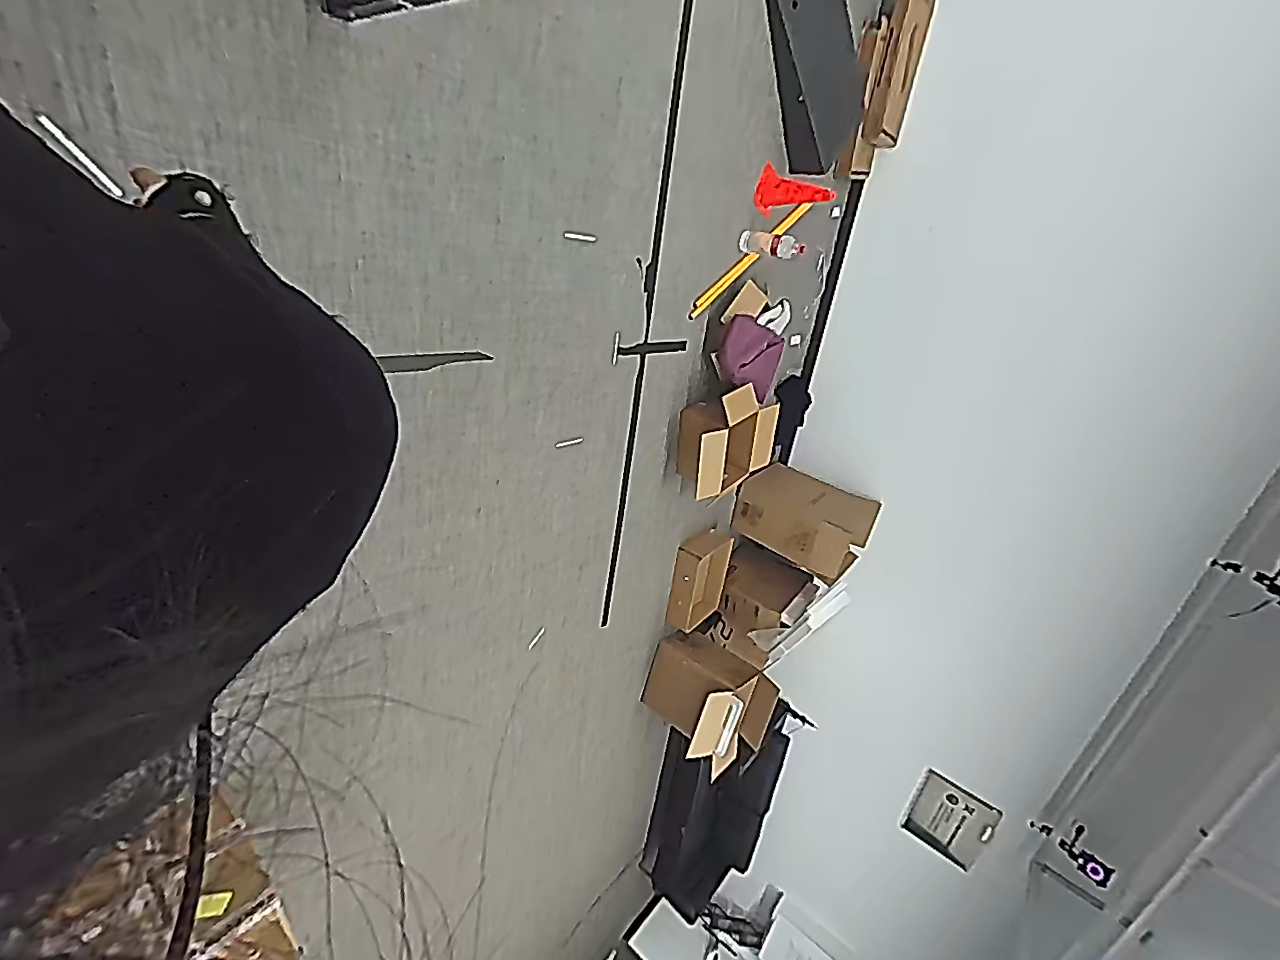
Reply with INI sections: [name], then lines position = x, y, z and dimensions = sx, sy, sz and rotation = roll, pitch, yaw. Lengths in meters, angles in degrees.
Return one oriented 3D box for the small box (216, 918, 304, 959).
[small box]
position = -0.914, 1.225, 1.305
dimensions = 0.168, 0.176, 0.179
rotation = -23, 125, -48
